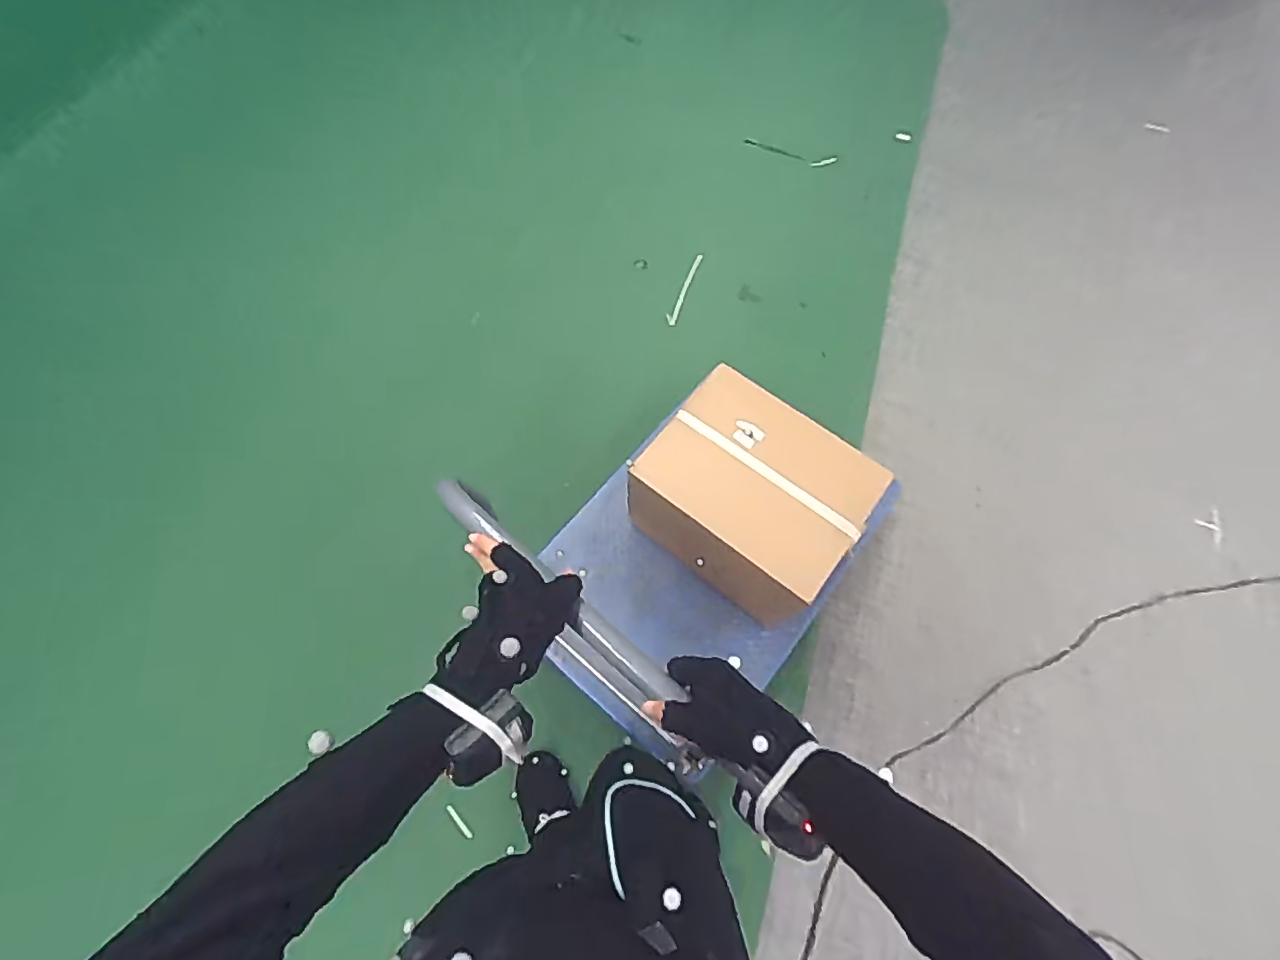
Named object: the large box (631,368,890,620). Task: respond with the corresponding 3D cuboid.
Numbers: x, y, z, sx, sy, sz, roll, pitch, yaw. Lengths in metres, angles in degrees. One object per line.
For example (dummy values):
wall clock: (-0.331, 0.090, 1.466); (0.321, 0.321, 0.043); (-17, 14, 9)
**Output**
large box: (0.233, 0.045, 1.166); (0.408, 0.320, 0.320); (37, 71, 14)
